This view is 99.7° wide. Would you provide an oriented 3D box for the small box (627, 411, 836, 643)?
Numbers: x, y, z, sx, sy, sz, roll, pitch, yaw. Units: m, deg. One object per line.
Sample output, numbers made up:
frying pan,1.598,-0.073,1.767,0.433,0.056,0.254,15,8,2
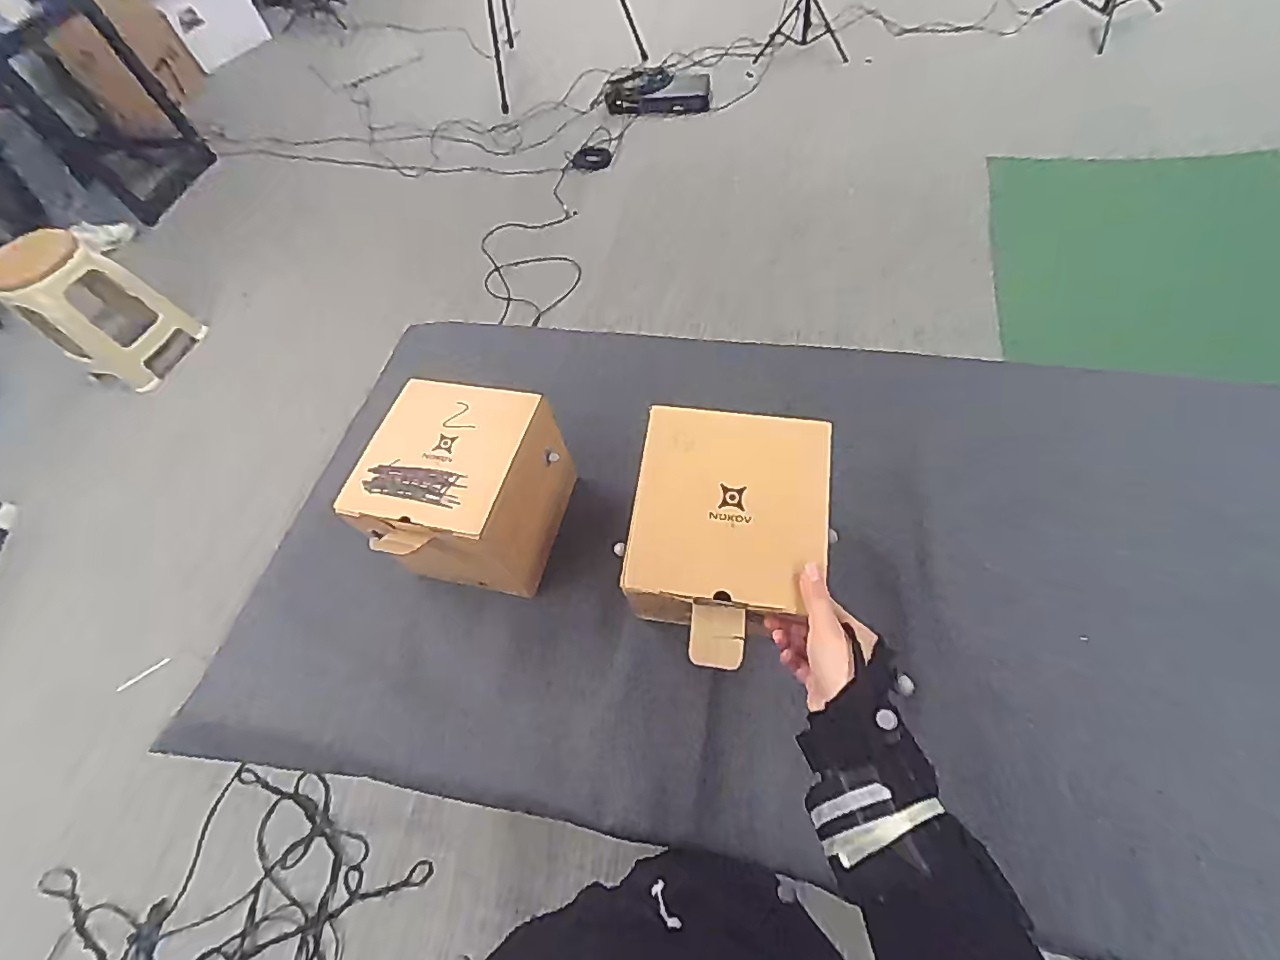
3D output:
small box,0.085,0.055,0.537,0.168,0.176,0.179,7,70,6
